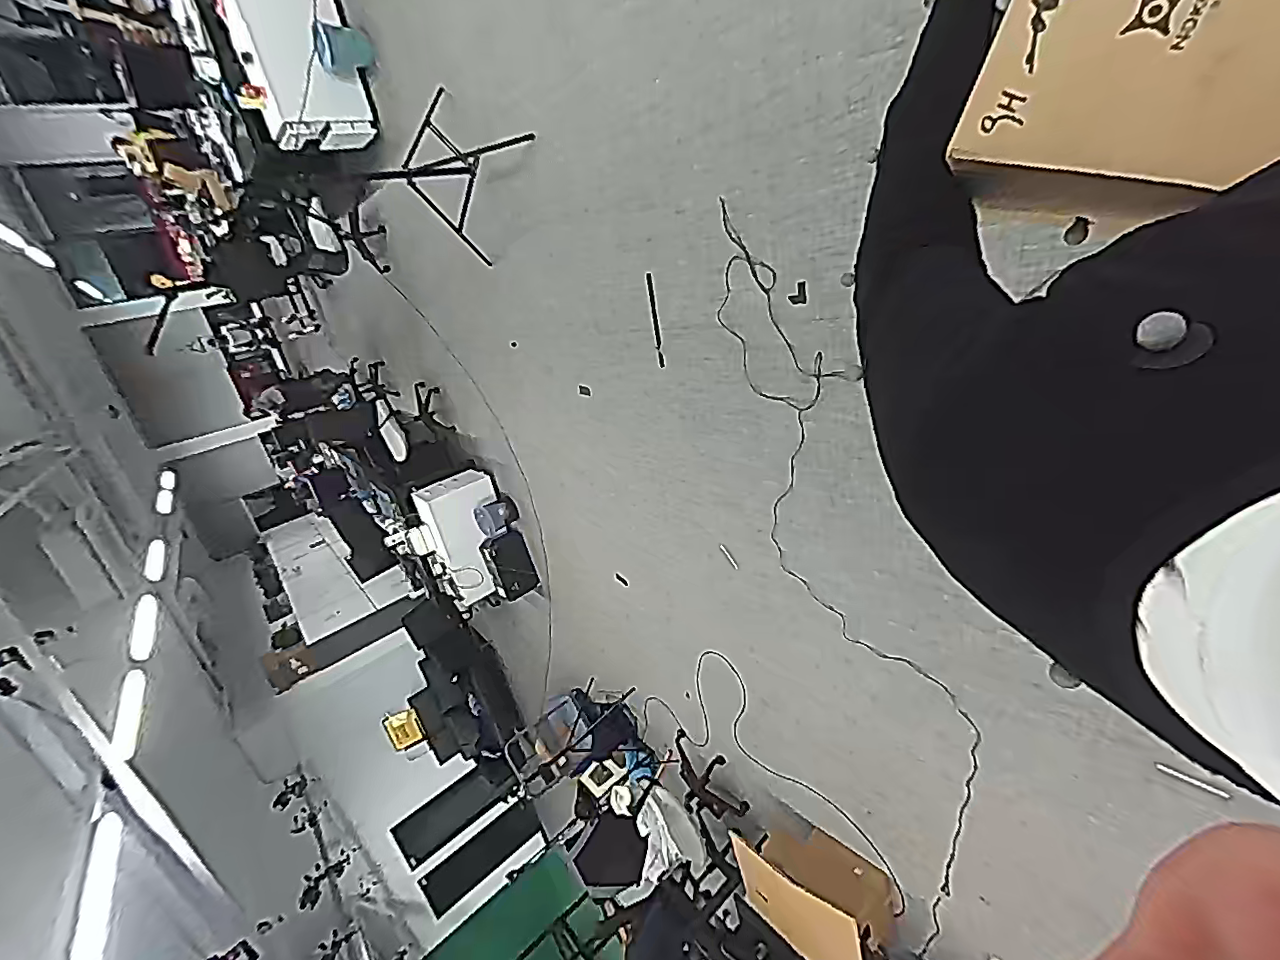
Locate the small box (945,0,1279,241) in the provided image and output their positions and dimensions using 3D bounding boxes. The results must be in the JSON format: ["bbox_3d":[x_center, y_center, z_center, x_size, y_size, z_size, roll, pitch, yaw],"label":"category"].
[{"bbox_3d":[0.348,-0.277,0.372,0.179,0.176,0.168,29,115,30],"label":"small box"}]
